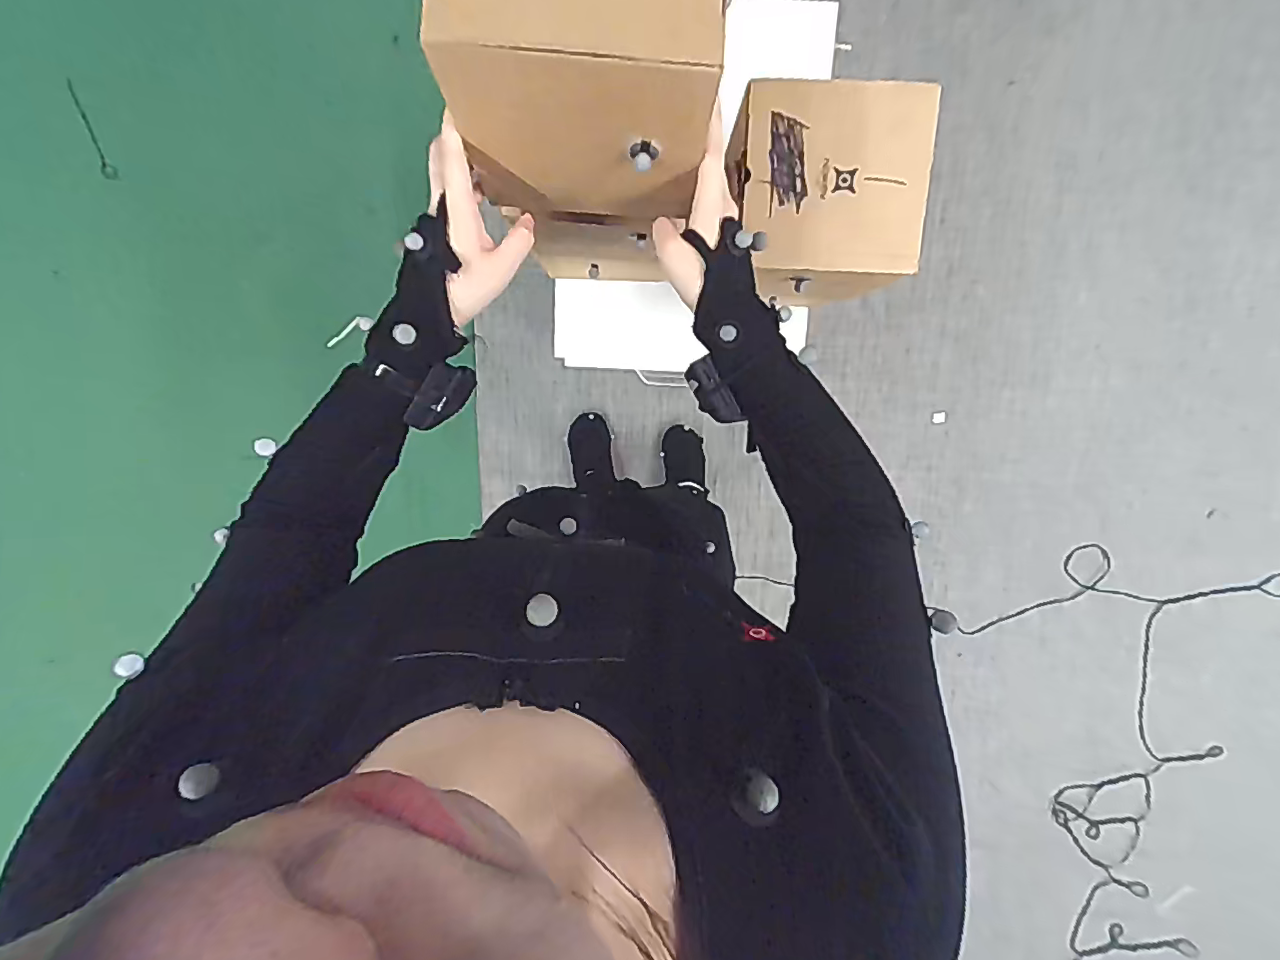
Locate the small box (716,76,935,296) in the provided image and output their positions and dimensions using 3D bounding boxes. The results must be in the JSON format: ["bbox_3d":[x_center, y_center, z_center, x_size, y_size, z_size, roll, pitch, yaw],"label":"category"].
[{"bbox_3d":[0.181,-0.300,0.587,0.179,0.176,0.168,3,101,-1],"label":"small box"}]

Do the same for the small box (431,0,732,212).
[{"bbox_3d":[-0.034,-0.323,0.399,0.179,0.176,0.168,2,86,-2],"label":"small box"}]

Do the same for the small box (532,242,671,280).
[{"bbox_3d":[-0.047,-0.375,0.737,0.179,0.176,0.168,1,101,-3],"label":"small box"}]

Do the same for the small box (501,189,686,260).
[{"bbox_3d":[-0.043,-0.342,0.577,0.179,0.176,0.168,3,100,-4],"label":"small box"}]
